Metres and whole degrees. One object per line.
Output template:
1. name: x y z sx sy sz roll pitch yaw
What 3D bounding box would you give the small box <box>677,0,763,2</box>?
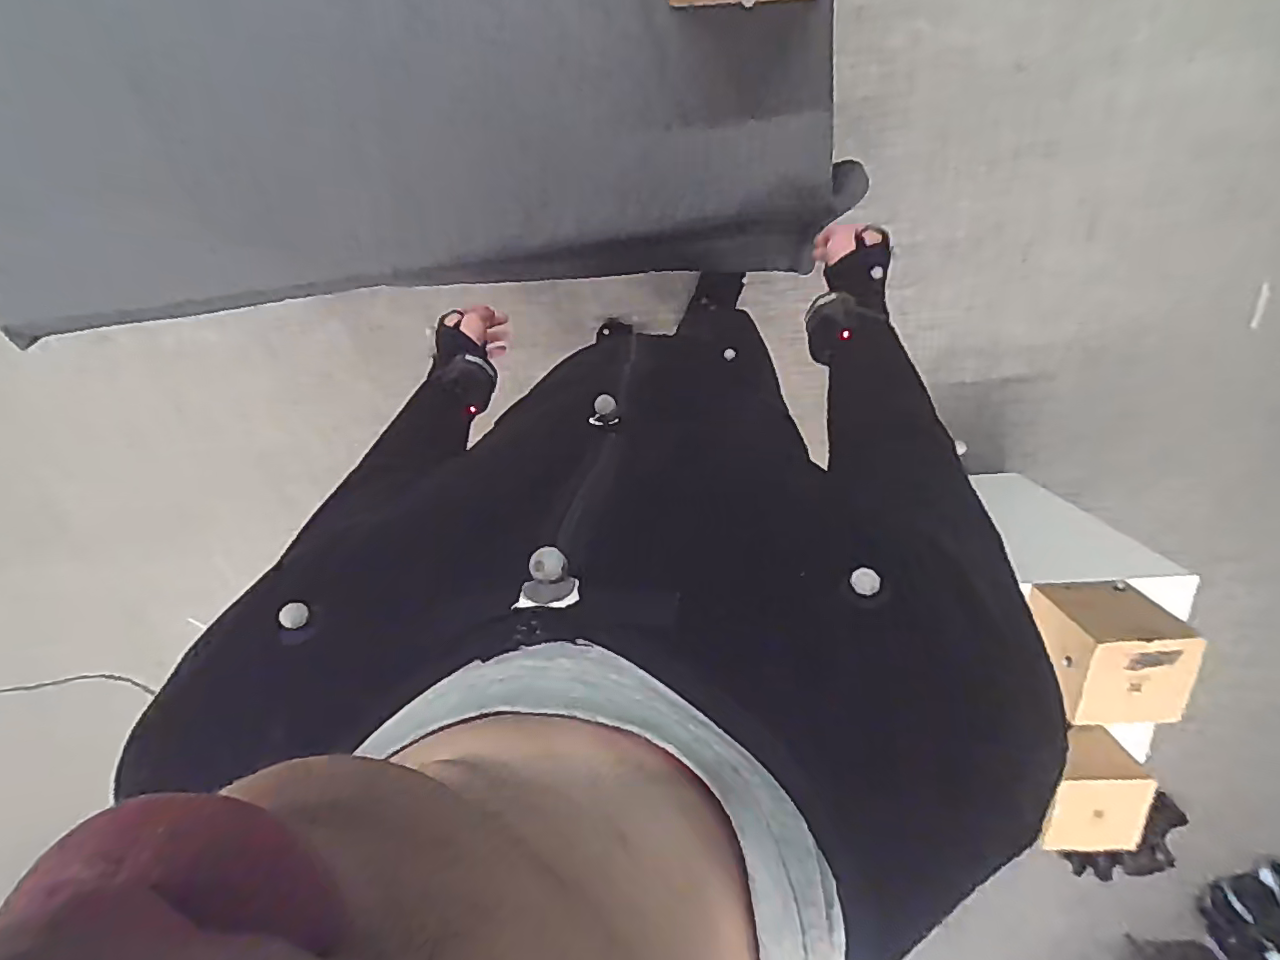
1. small box: 0.115 -0.591 0.510 0.179 0.176 0.168 -1 111 2

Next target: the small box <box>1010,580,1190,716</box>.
1. small box: 0.801 0.290 0.965 0.168 0.176 0.179 -4 113 4
